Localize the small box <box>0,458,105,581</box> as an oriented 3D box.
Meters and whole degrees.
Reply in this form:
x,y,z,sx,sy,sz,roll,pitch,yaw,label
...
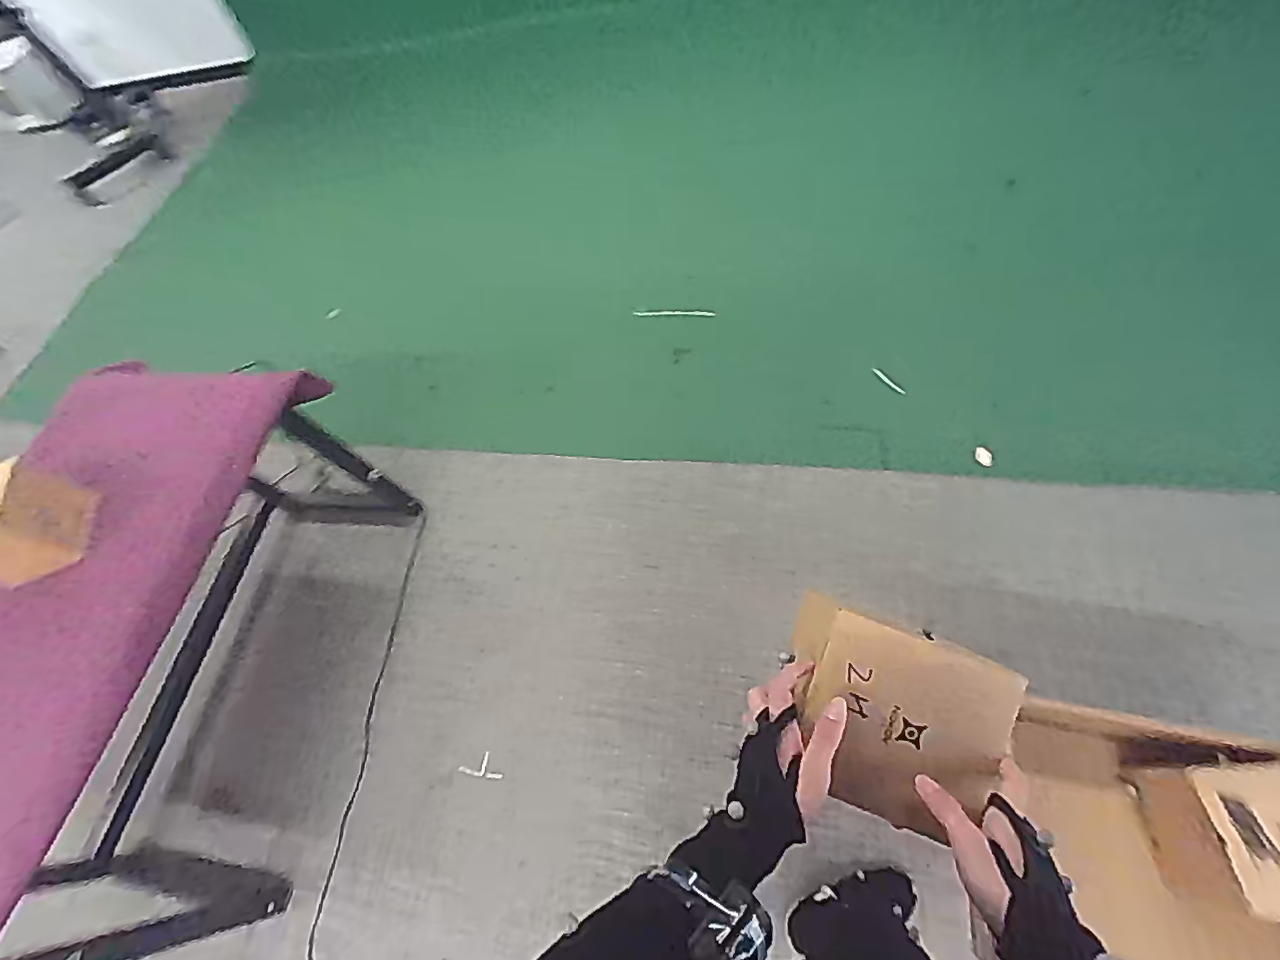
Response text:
x,y,z,sx,sy,sz,roll,pitch,yaw,label
-1.270,0.087,1.111,0.179,0.176,0.168,-21,61,2,small box
